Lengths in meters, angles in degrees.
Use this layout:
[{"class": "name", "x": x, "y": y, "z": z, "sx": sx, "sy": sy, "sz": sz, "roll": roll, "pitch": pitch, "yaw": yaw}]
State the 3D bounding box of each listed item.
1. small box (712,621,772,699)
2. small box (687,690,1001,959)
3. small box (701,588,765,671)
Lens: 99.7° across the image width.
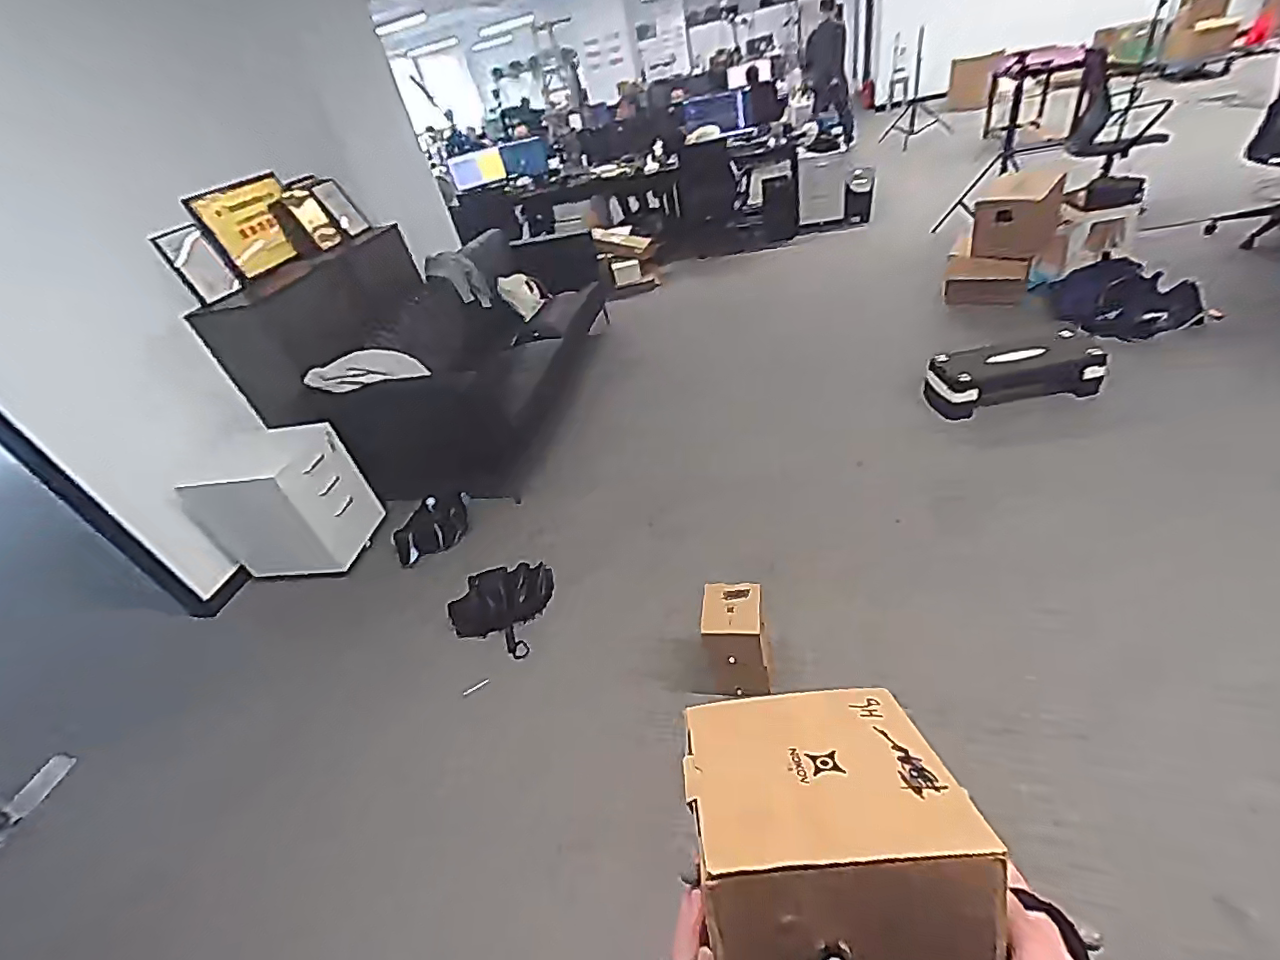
[{"class": "small box", "x": 0.321, "y": 0.562, "z": 1.693, "sx": 0.168, "sy": 0.176, "sz": 0.179, "roll": -5, "pitch": 39, "yaw": 15}, {"class": "small box", "x": 0.134, "y": 0.283, "z": 0.402, "sx": 0.179, "sy": 0.176, "sz": 0.168, "roll": -6, "pitch": 11, "yaw": 3}, {"class": "small box", "x": 0.278, "y": 0.438, "z": 1.593, "sx": 0.168, "sy": 0.176, "sz": 0.179, "roll": -4, "pitch": 39, "yaw": 16}]
